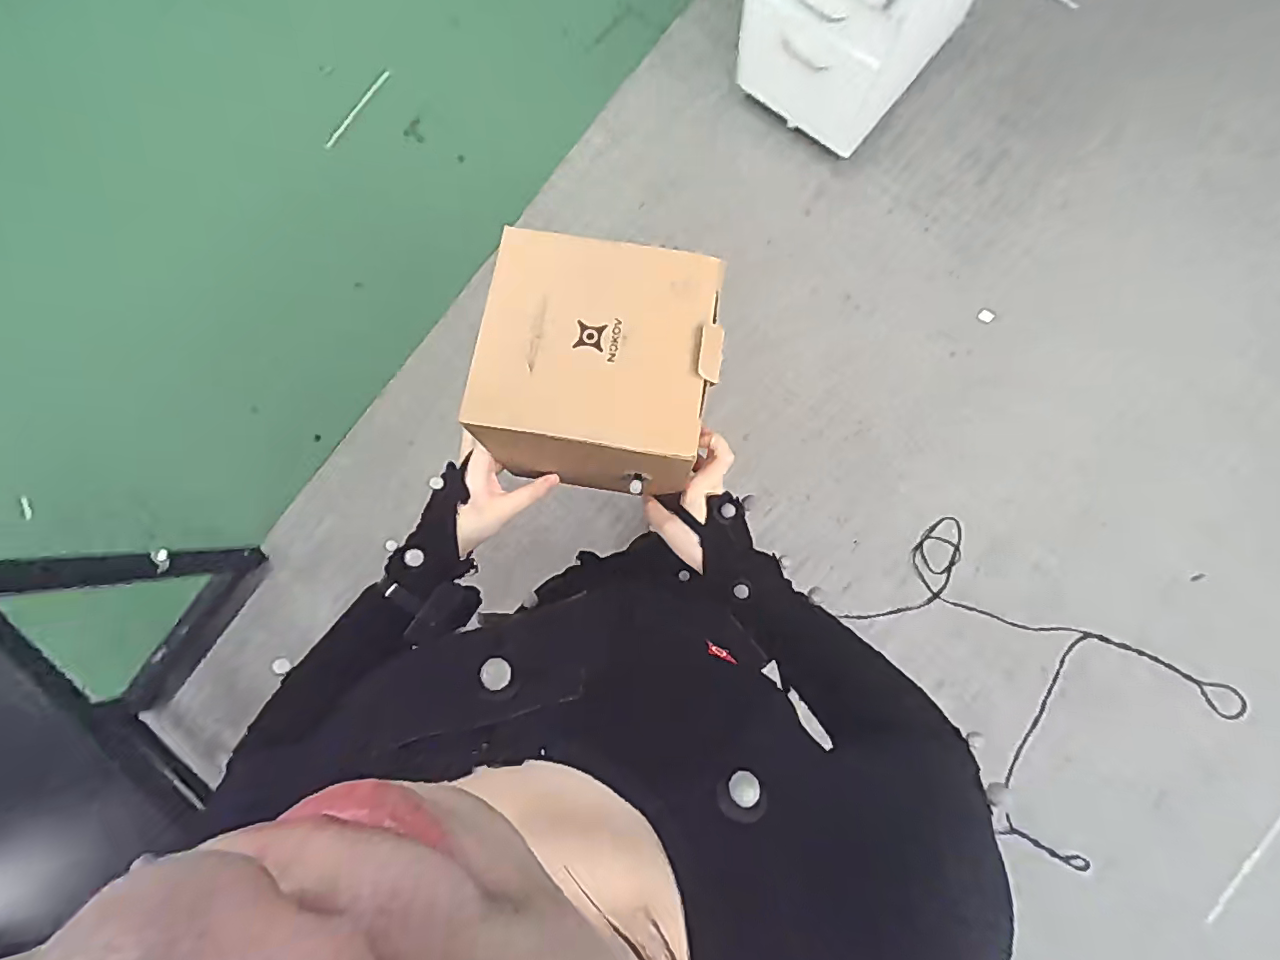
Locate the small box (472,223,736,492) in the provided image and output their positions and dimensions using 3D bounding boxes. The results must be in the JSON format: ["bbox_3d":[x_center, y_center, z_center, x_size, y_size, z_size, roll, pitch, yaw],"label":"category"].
[{"bbox_3d":[-0.023,-0.091,0.479,0.179,0.176,0.168,8,77,2],"label":"small box"}]
